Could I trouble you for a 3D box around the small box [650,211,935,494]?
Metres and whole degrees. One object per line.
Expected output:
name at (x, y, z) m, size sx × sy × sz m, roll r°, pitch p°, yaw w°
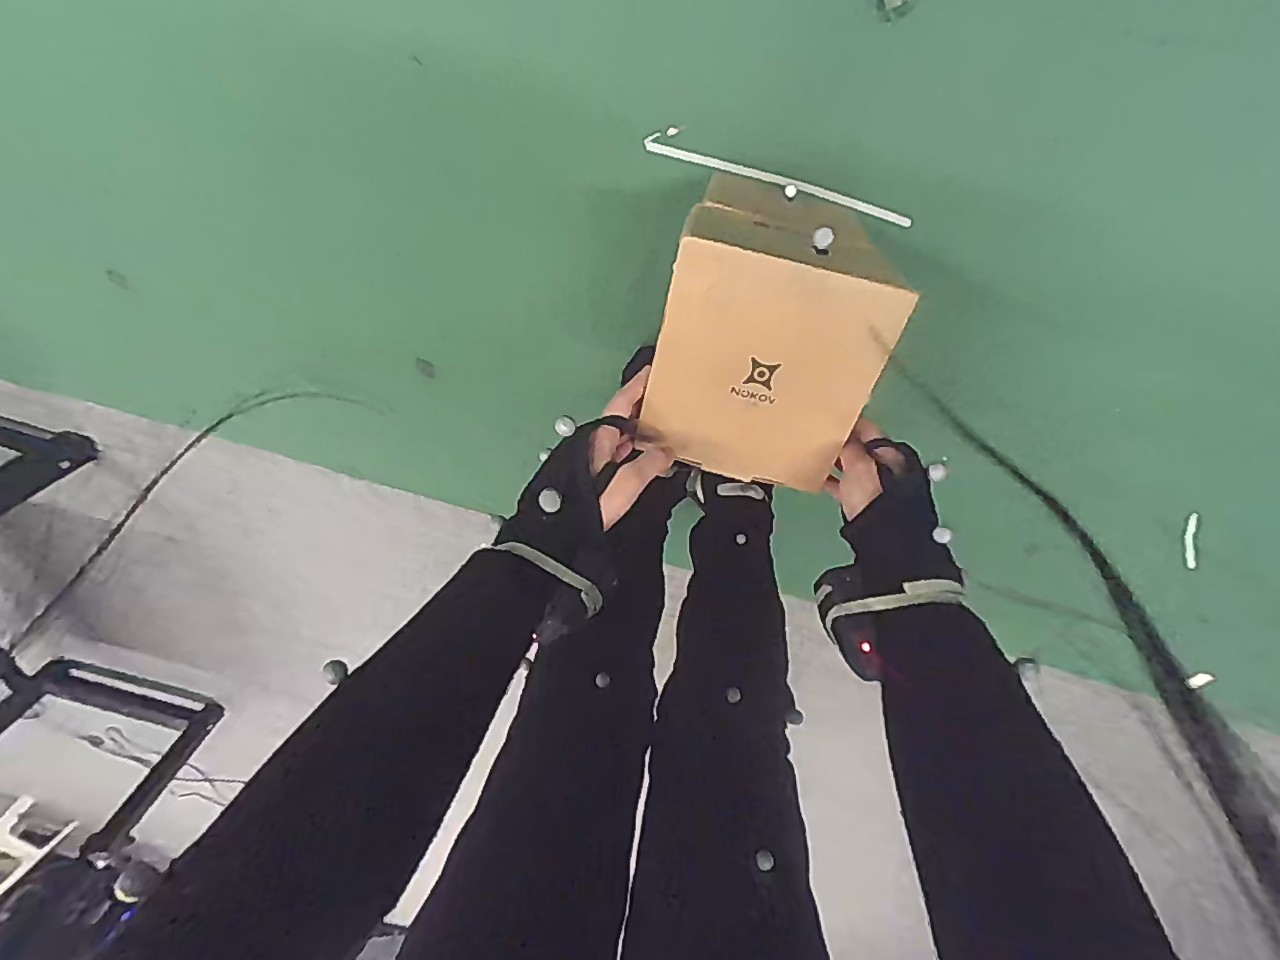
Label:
small box at (0.111, -0.119, 0.473) m, size 0.168 × 0.176 × 0.179 m, roll 14°, pitch 124°, yaw -1°
